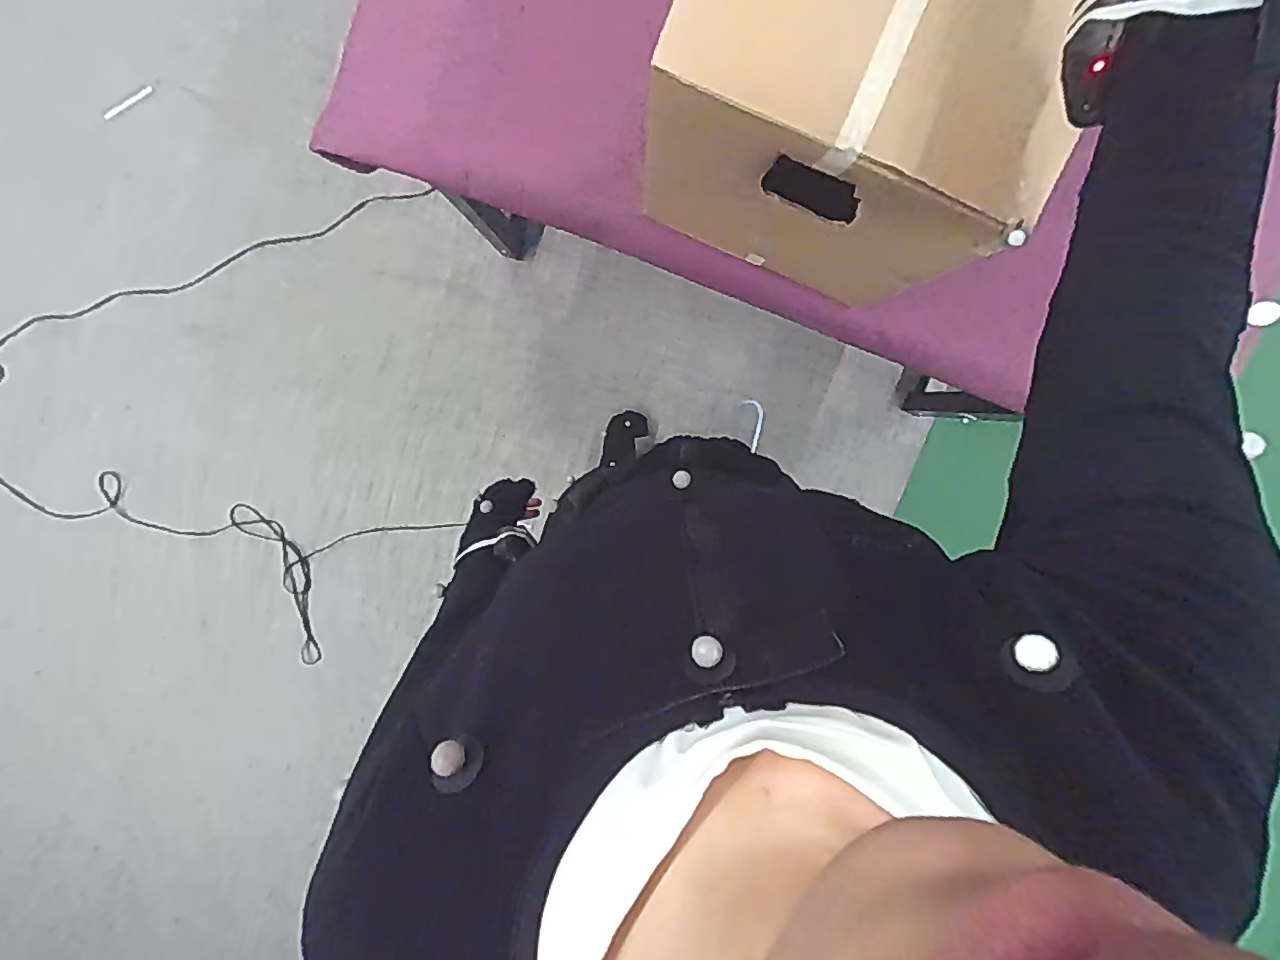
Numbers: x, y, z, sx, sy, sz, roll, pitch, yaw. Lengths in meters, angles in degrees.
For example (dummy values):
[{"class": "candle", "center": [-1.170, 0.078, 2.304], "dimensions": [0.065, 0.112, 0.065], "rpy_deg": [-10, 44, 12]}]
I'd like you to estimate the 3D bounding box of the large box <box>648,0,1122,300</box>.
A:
[{"class": "large box", "center": [0.224, -0.452, 0.540], "dimensions": [0.320, 0.320, 0.408], "rpy_deg": [23, 98, -3]}]
